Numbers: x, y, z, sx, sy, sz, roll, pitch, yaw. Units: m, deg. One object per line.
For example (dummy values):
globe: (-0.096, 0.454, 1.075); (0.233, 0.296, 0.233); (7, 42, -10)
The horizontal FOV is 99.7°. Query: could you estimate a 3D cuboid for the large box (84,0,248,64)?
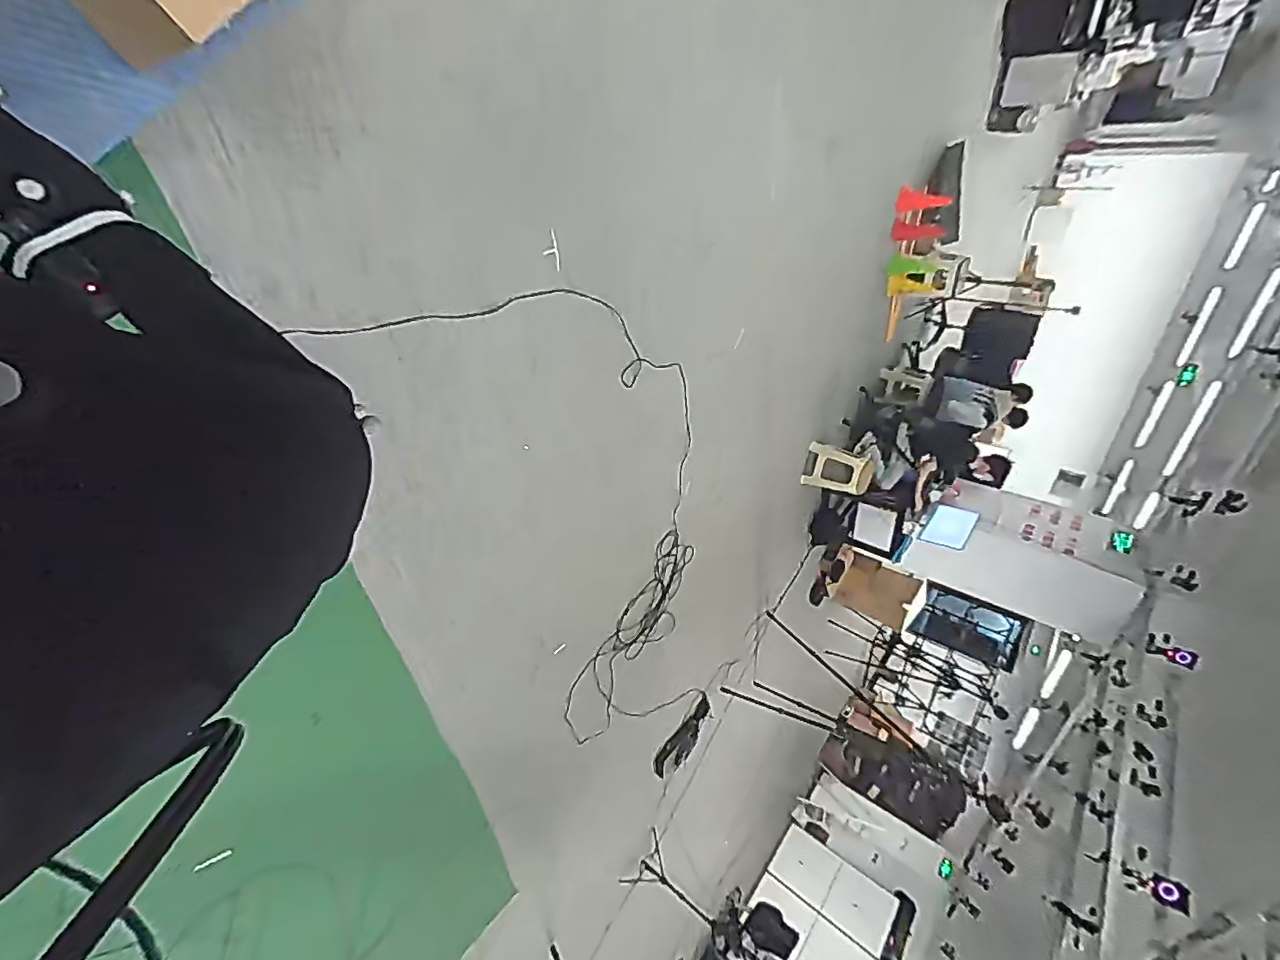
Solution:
large box: (-0.687, -0.846, 0.678); (0.320, 0.320, 0.408); (-58, 143, -15)
